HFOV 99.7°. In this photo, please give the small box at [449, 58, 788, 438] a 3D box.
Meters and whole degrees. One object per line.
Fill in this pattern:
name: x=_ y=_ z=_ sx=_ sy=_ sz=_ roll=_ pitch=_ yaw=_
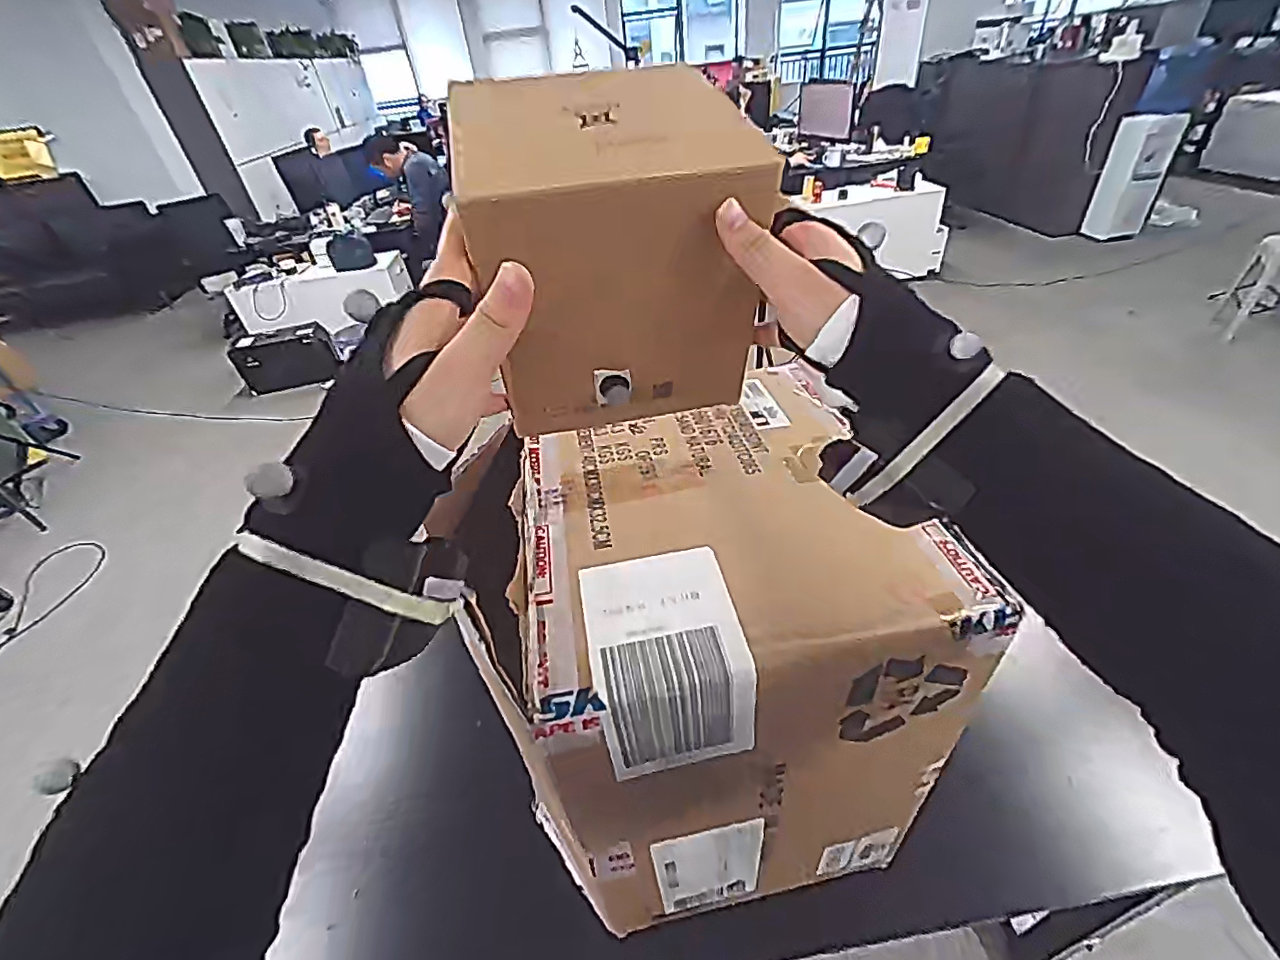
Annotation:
small box: x=-0.024 y=-0.156 z=0.370 sx=0.168 sy=0.176 sz=0.179 roll=-12 pitch=54 yaw=-8
